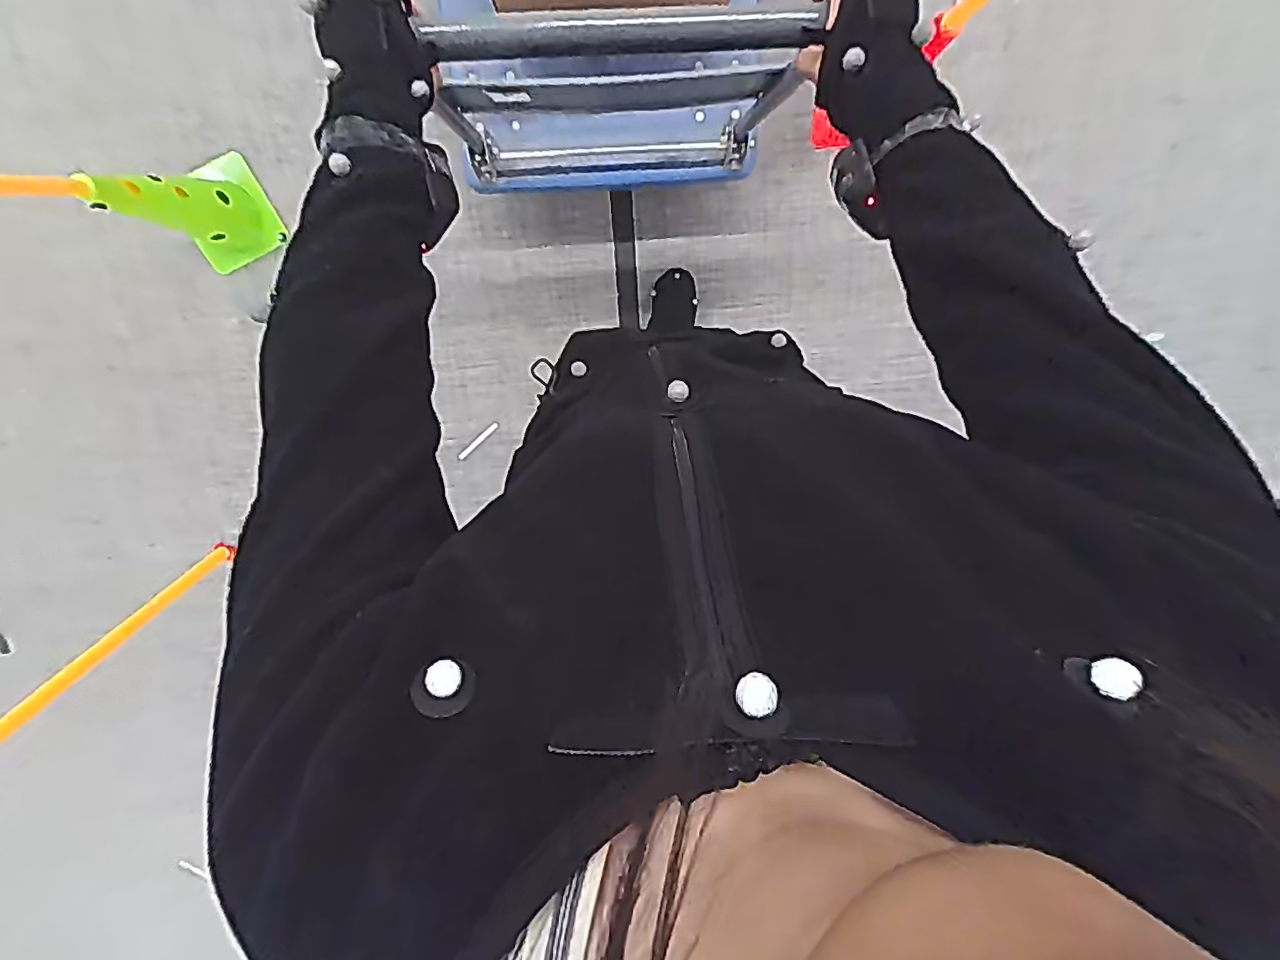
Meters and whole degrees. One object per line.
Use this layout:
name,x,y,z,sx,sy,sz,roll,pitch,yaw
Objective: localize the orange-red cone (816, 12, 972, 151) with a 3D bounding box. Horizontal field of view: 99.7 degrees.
orange-red cone,0.501,-0.778,1.019,0.199,0.360,0.198,1,109,-4
